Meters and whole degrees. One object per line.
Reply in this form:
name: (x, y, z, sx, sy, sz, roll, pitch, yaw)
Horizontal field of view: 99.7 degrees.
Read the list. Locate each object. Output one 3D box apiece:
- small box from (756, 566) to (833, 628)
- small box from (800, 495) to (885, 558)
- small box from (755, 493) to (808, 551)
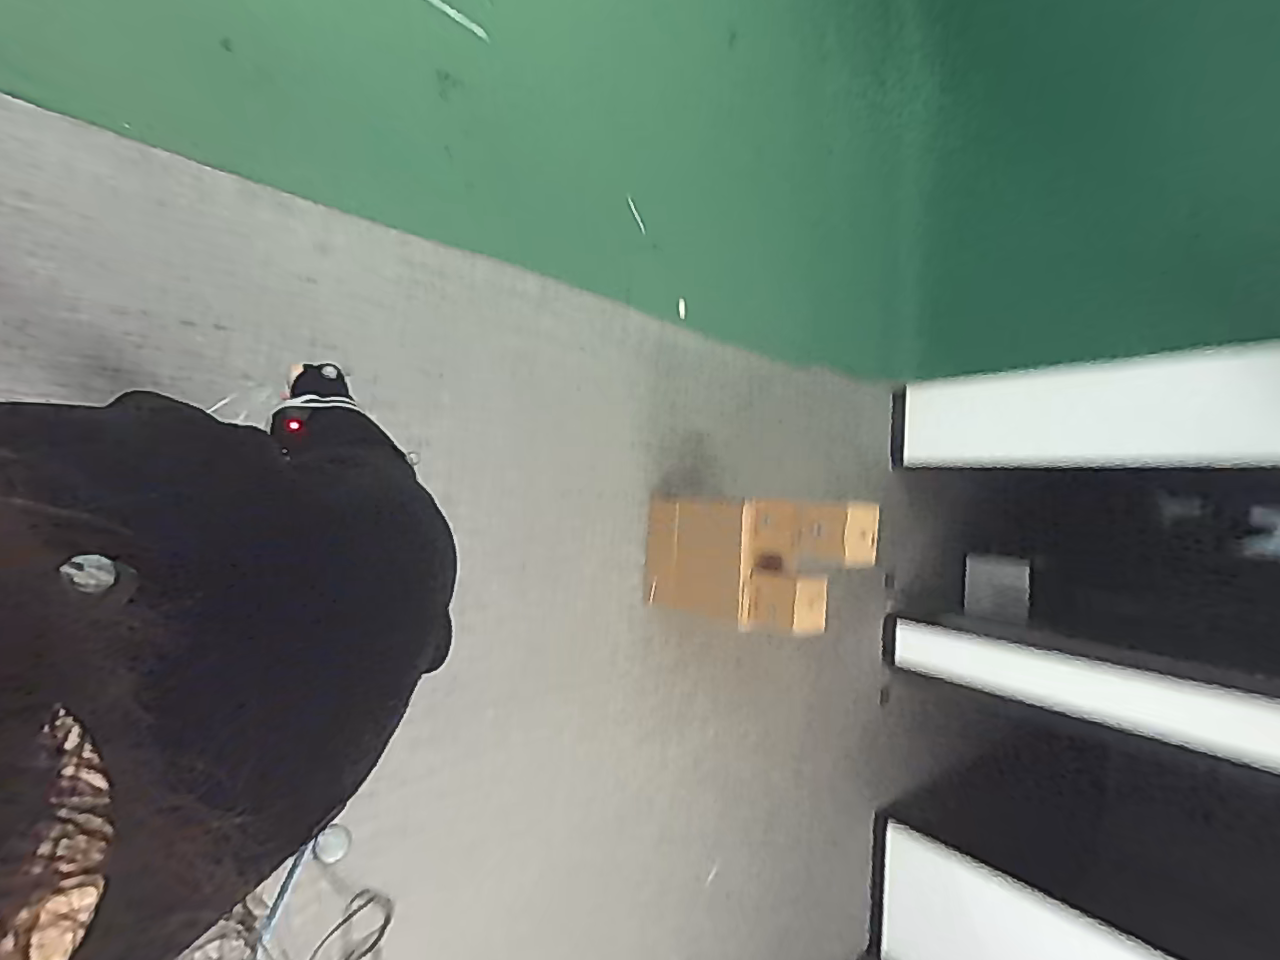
small box: (0.487, 0.365, 1.712, 0.179, 0.176, 0.168, 8, 86, -41)
small box: (0.587, 0.134, 1.577, 0.179, 0.176, 0.168, 5, 90, -38)
small box: (0.488, 0.129, 1.707, 0.179, 0.176, 0.168, 4, 90, -38)
